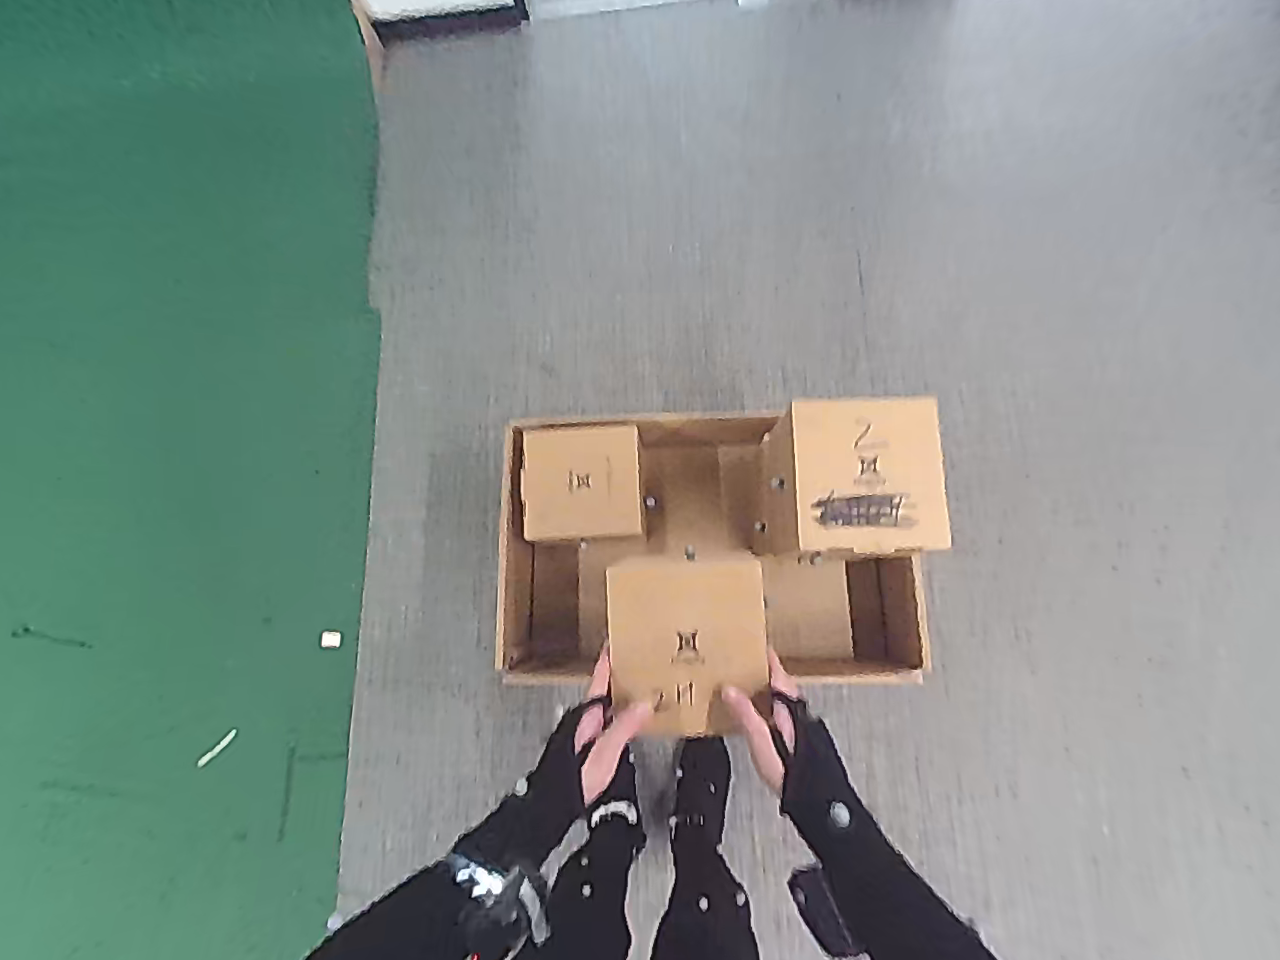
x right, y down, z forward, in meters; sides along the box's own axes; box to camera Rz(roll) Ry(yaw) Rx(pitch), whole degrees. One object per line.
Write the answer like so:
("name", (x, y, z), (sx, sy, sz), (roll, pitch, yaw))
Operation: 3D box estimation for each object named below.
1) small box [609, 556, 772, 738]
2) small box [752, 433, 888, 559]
("small box", (0.059, 0.181, 0.635), (0.168, 0.176, 0.179), (-3, 86, 7))
("small box", (0.271, 0.033, 0.852), (0.168, 0.176, 0.179), (-1, 80, 4))
